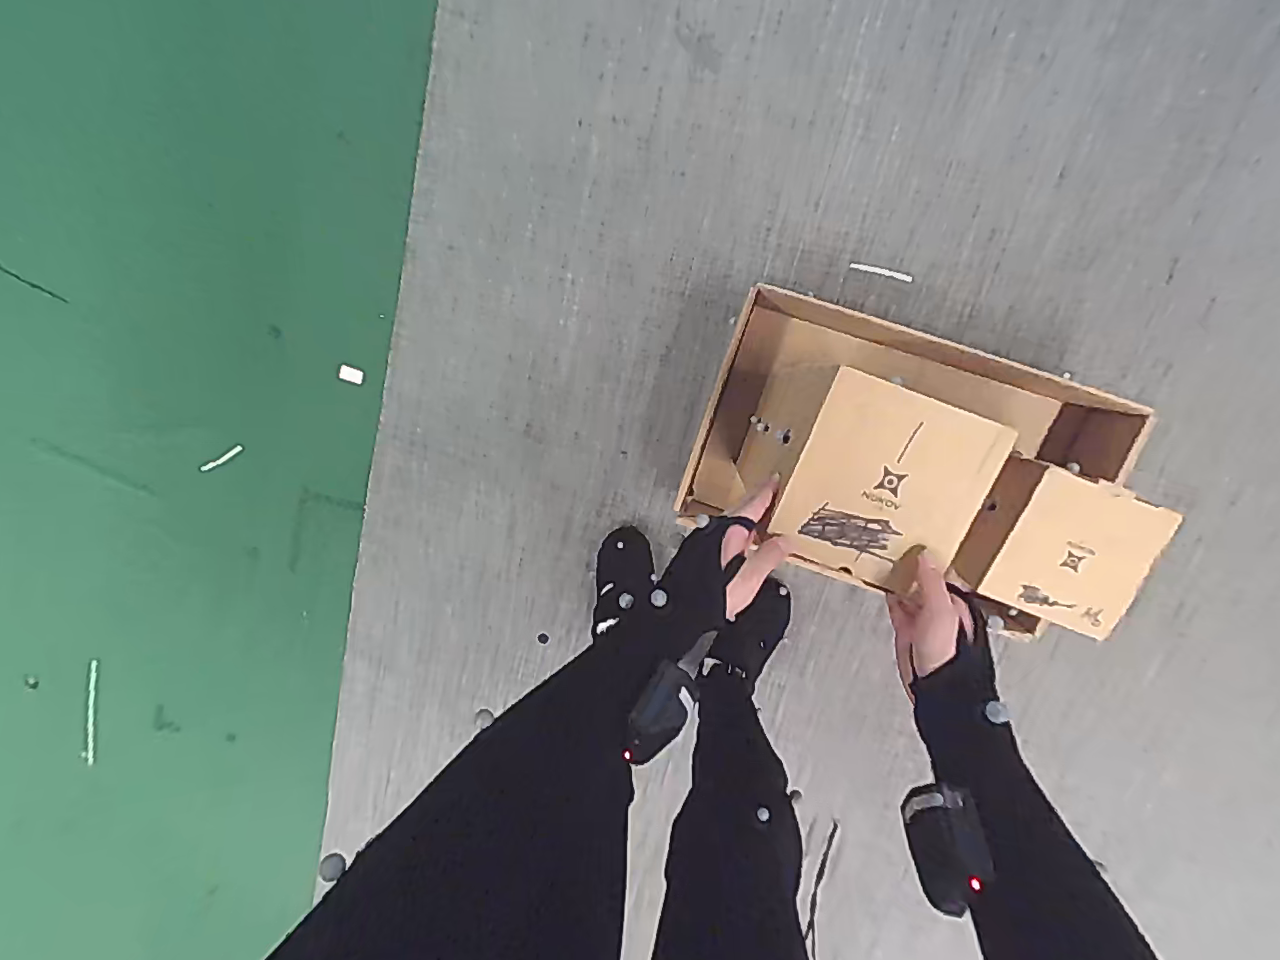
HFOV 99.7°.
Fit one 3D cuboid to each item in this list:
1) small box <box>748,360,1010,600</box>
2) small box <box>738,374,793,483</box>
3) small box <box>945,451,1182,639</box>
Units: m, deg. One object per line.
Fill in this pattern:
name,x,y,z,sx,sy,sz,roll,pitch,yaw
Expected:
small box,0.220,-0.011,0.557,0.168,0.176,0.179,20,101,1
small box,0.267,-0.065,0.891,0.168,0.176,0.179,19,102,3
small box,0.526,0.071,0.716,0.168,0.176,0.179,22,102,3
